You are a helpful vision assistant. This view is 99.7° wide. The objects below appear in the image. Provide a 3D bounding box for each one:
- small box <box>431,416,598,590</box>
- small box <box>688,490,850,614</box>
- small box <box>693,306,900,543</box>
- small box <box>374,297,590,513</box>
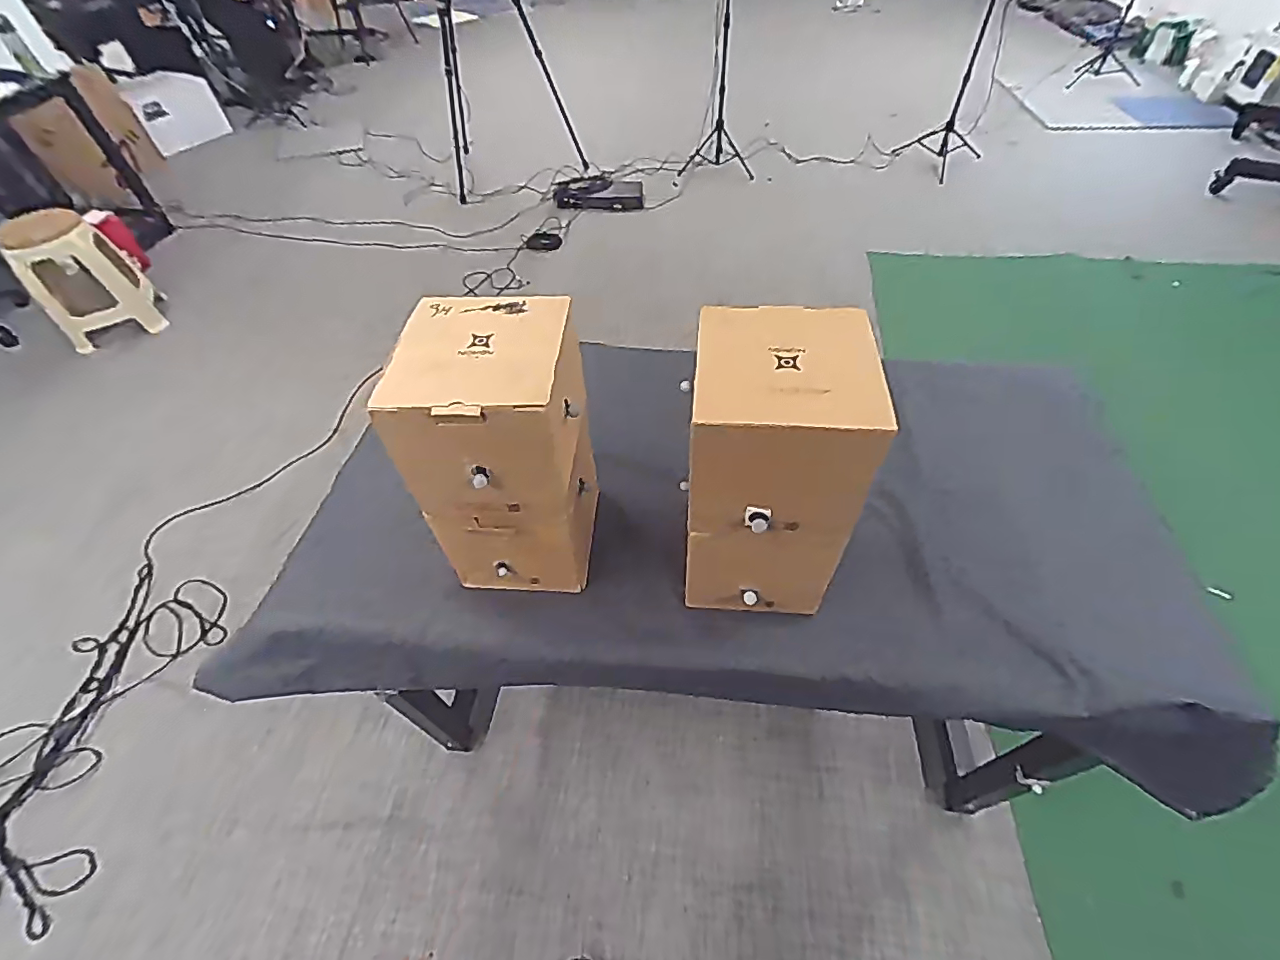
[{"bbox_3d":[-0.149,0.025,0.717,0.168,0.176,0.179,1,50,3],"label":"small box"},{"bbox_3d":[0.148,0.047,0.681,0.168,0.176,0.179,2,50,5],"label":"small box"},{"bbox_3d":[0.142,-0.057,0.556,0.168,0.176,0.179,2,50,7],"label":"small box"},{"bbox_3d":[-0.150,-0.077,0.589,0.168,0.176,0.179,1,51,3],"label":"small box"}]
